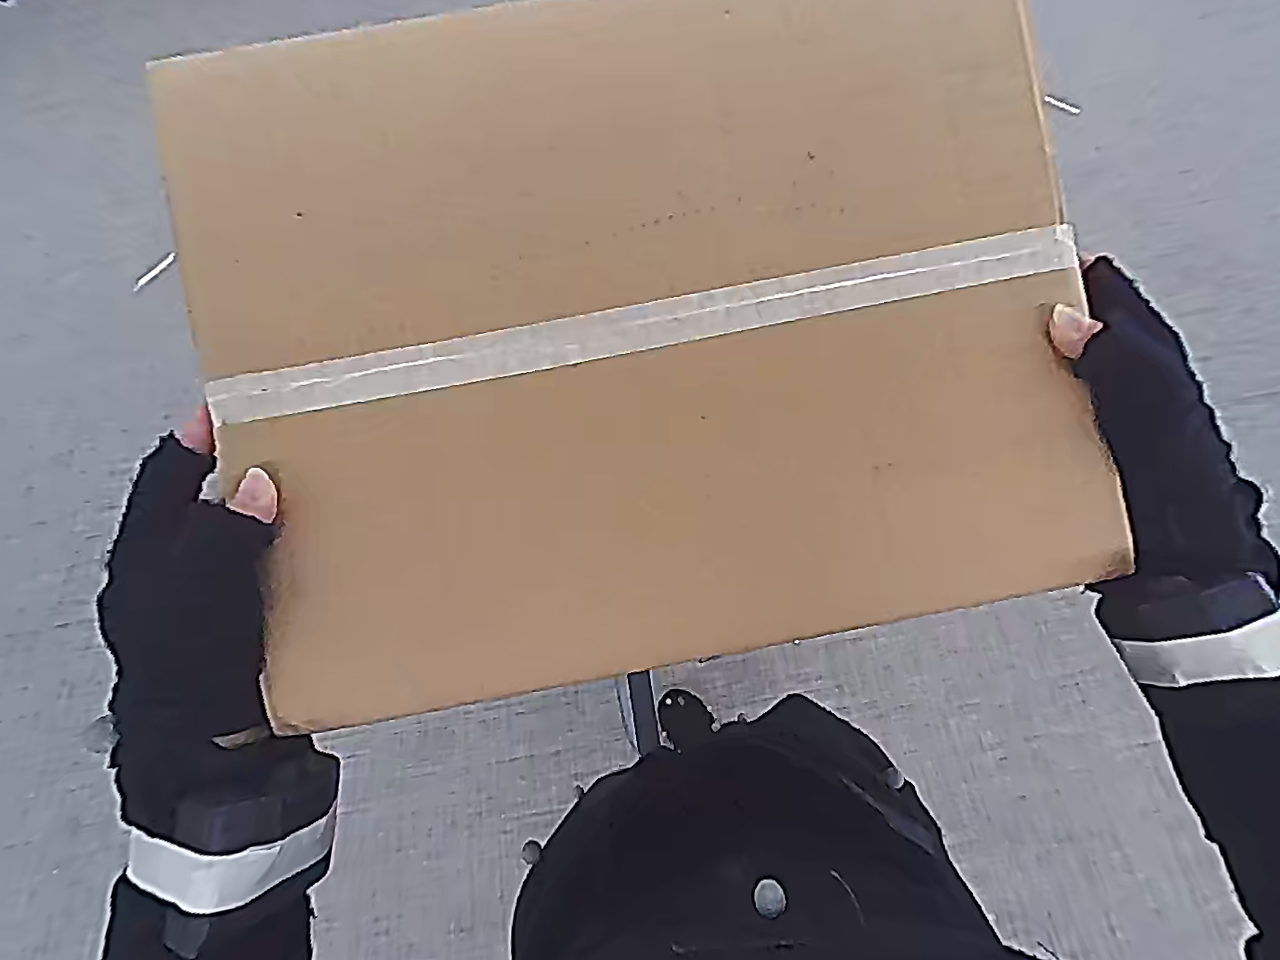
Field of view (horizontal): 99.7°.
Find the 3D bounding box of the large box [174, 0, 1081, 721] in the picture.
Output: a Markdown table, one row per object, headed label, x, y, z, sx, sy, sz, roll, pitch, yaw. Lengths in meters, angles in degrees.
| label | x | y | z | sx | sy | sz | roll | pitch | yaw |
| --- | --- | --- | --- | --- | --- | --- | --- | --- | --- |
| large box | -0.002 | -0.073 | 0.411 | 0.408 | 0.320 | 0.320 | -10 | 90 | -1 |
